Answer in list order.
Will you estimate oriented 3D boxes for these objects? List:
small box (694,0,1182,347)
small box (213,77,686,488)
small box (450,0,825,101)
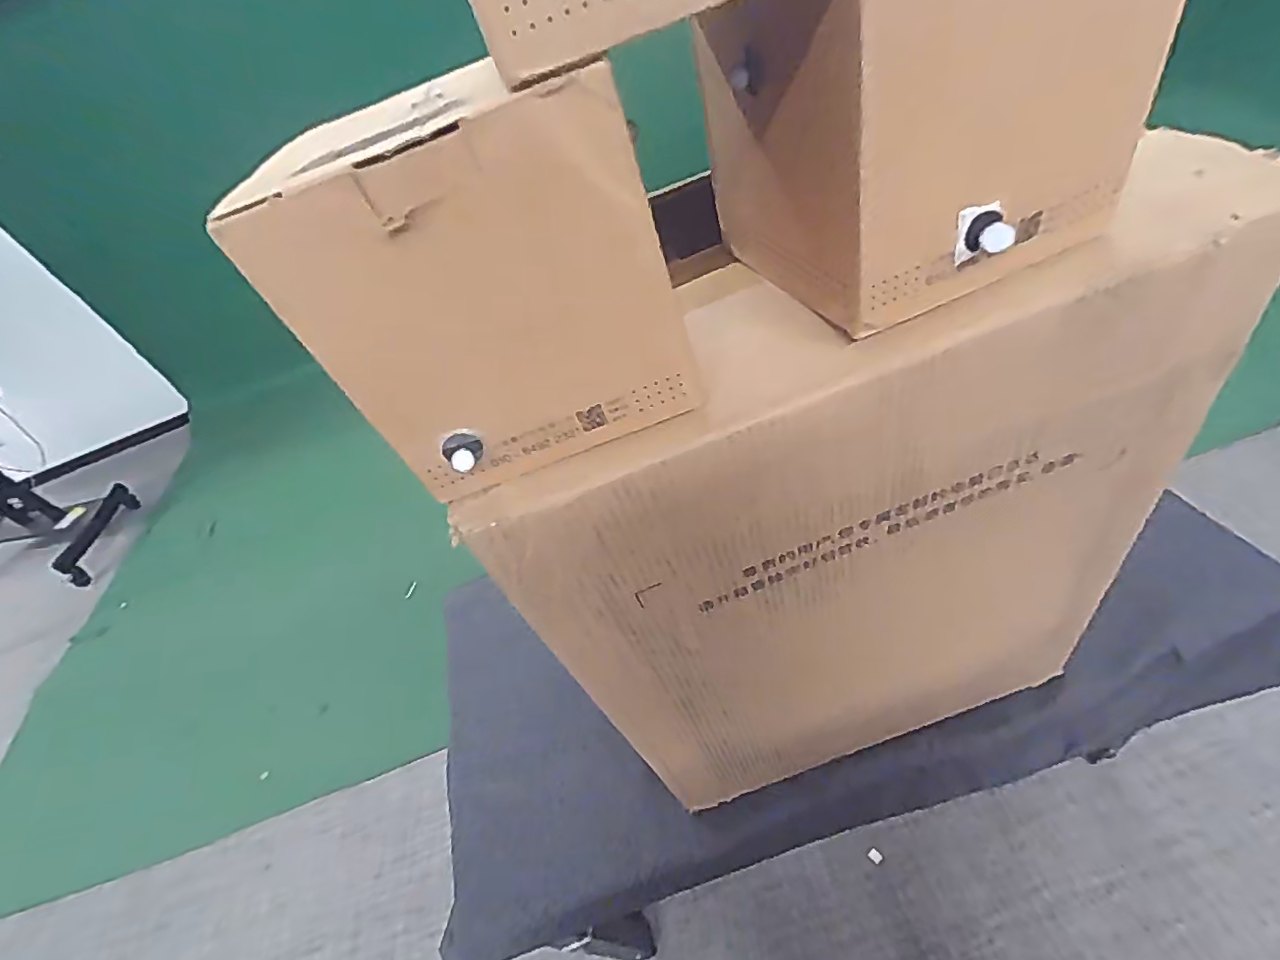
[{"bbox_3d":[0.145,-0.207,0.314,0.168,0.176,0.179,-26,44,-2],"label":"small box"},{"bbox_3d":[-0.083,-0.116,0.319,0.168,0.176,0.179,-20,43,3],"label":"small box"},{"bbox_3d":[-0.016,-0.270,0.204,0.168,0.176,0.179,-21,42,2],"label":"small box"}]
